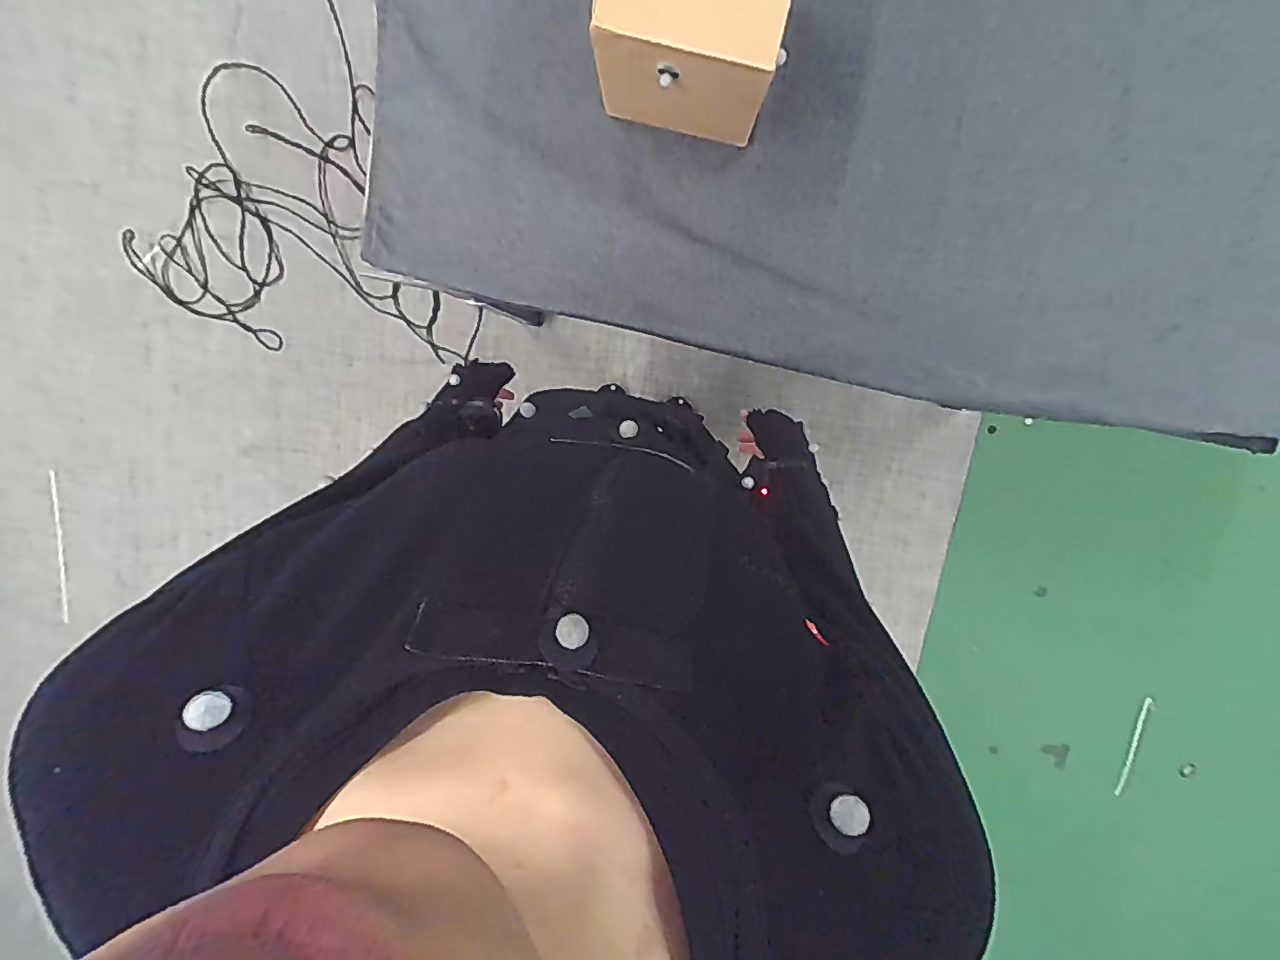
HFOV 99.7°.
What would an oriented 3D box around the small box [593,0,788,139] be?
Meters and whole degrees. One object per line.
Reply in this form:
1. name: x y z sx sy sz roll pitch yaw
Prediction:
1. small box: 0.059 -0.494 0.568 0.179 0.176 0.168 13 100 -2
